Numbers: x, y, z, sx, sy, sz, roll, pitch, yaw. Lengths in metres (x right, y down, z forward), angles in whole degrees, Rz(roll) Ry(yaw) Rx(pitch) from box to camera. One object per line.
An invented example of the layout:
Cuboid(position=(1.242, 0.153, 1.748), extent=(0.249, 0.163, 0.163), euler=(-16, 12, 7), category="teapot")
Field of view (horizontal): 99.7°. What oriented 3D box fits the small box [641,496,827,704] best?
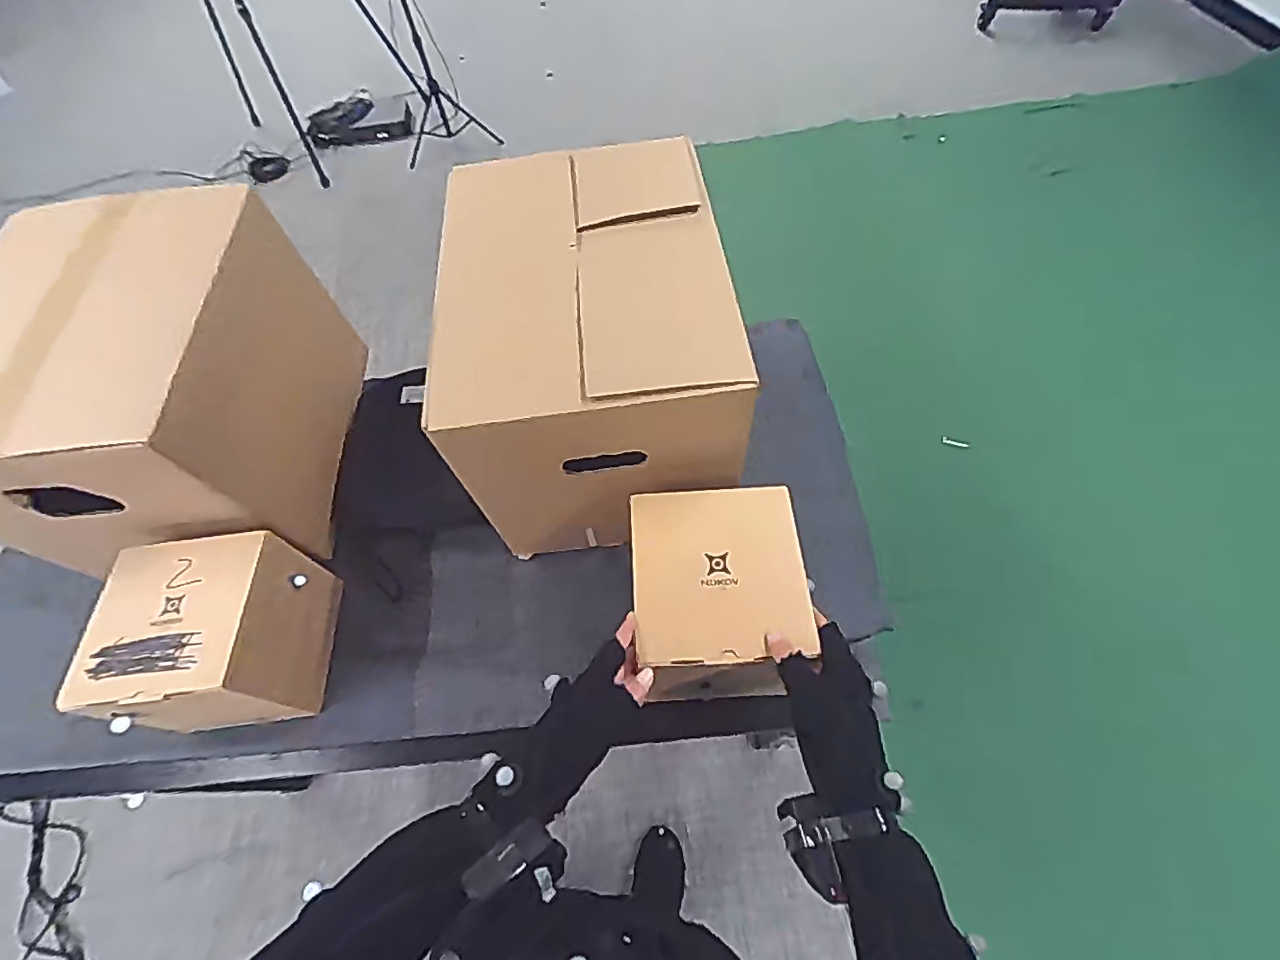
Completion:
Cuboid(position=(0.084, 0.134, 0.587), extent=(0.168, 0.176, 0.179), euler=(-3, 58, 1), category="small box")
